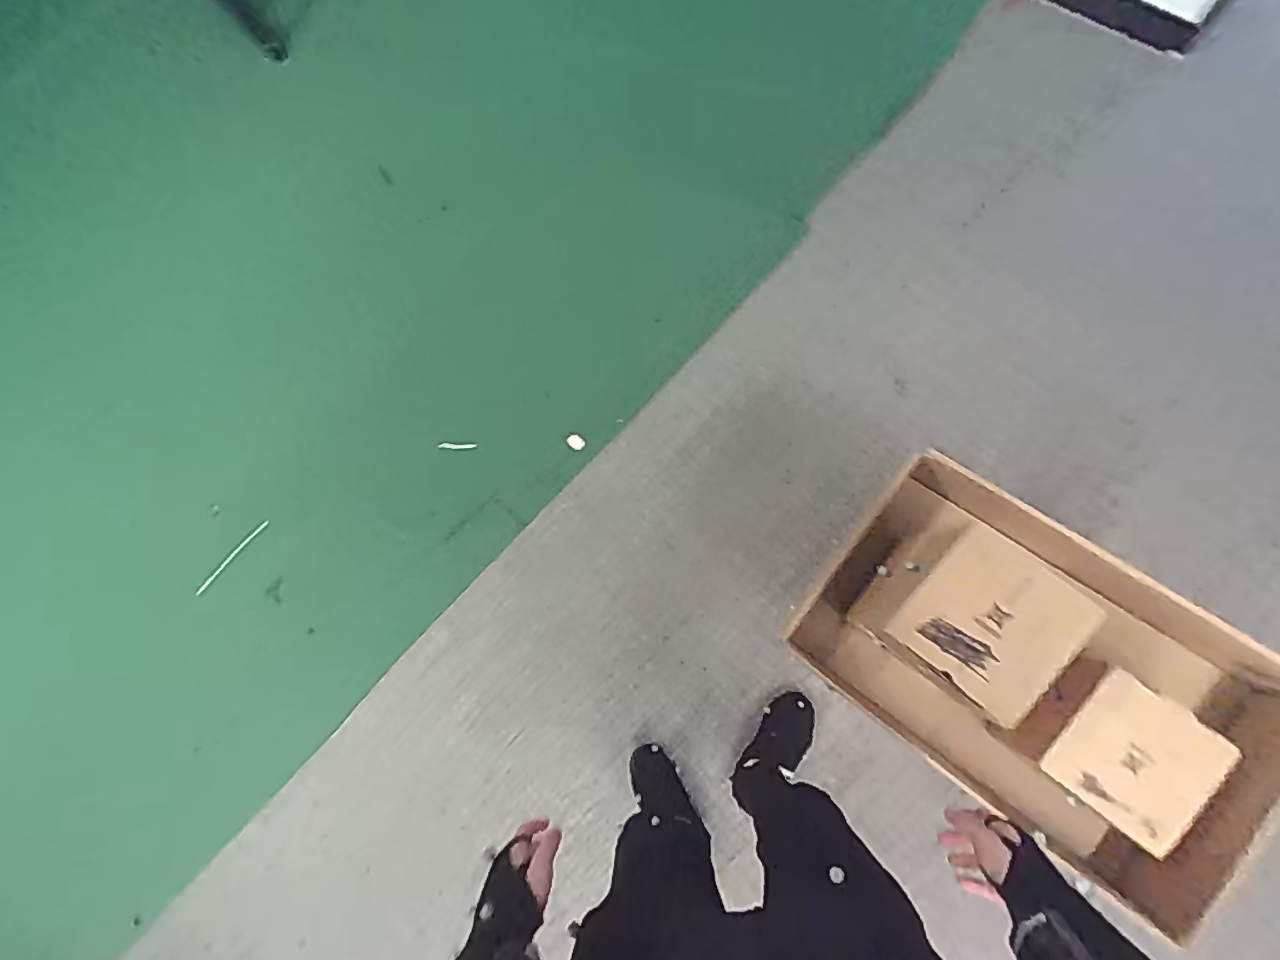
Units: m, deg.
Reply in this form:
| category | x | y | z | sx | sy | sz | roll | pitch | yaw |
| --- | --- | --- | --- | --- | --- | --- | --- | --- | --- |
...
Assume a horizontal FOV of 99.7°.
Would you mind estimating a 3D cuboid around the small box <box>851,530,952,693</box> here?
| category | x | y | z | sx | sy | sz | roll | pitch | yaw |
| --- | --- | --- | --- | --- | --- | --- | --- | --- | --- |
| small box | 0.455 | 0.203 | 0.850 | 0.168 | 0.176 | 0.179 | 38 | 88 | 16 |

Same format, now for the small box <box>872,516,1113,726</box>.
| category | x | y | z | sx | sy | sz | roll | pitch | yaw |
| --- | --- | --- | --- | --- | --- | --- | --- | --- | --- |
| small box | 0.424 | 0.173 | 0.691 | 0.168 | 0.176 | 0.179 | 42 | 89 | 16 |
